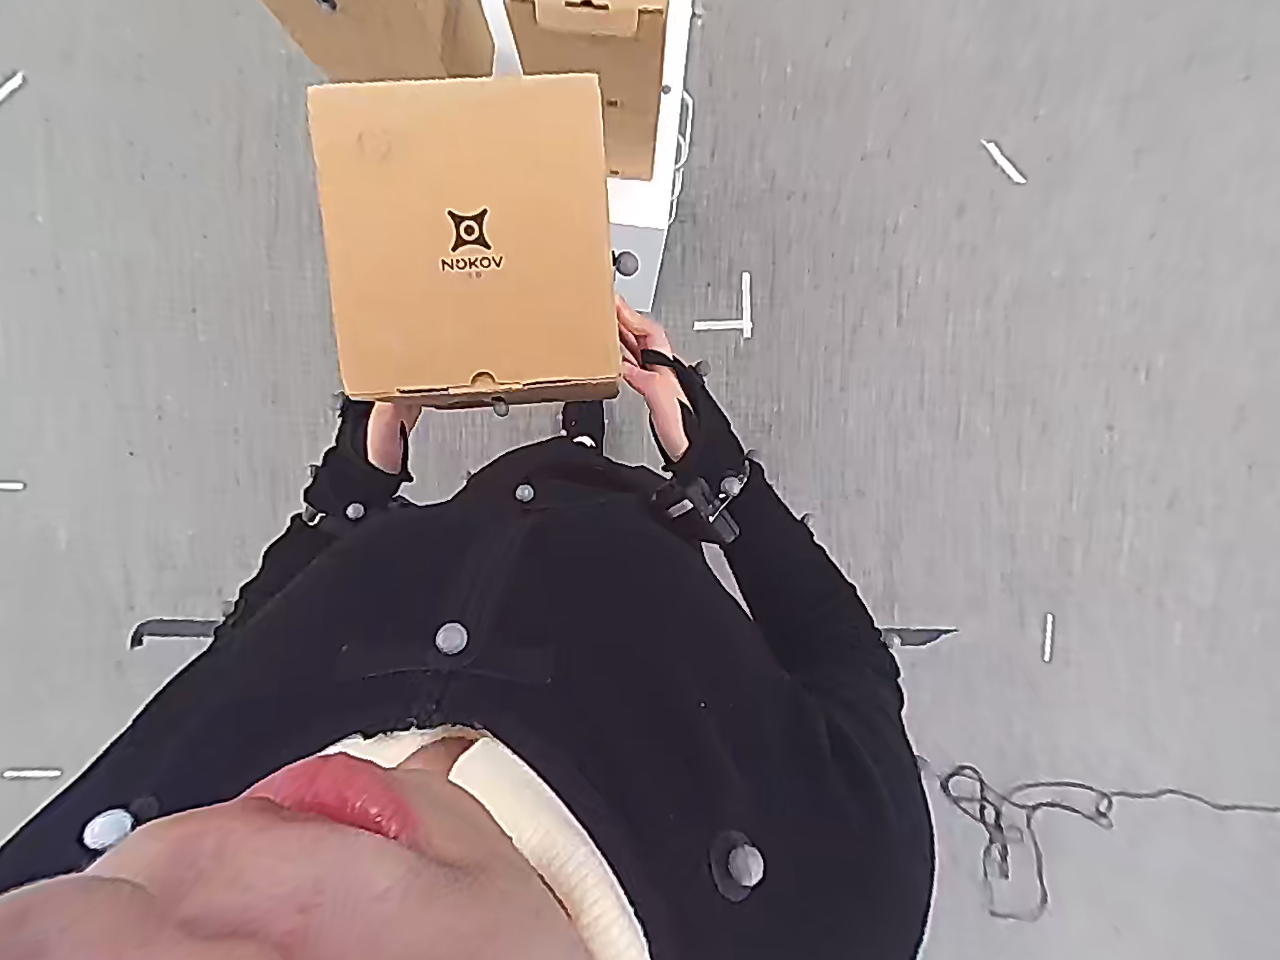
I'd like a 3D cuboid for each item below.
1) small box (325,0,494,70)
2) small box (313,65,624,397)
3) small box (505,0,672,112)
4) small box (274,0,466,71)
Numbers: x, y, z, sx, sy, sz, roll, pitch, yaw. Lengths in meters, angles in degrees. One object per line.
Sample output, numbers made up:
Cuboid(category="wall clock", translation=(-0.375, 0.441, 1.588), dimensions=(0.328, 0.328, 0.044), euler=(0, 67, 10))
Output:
Cuboid(category="small box", translation=(-0.310, -0.595, 0.761), dimensions=(0.168, 0.176, 0.179), euler=(7, 93, -2))
Cuboid(category="small box", translation=(-0.101, -0.156, 0.393), dimensions=(0.168, 0.176, 0.179), euler=(-4, 97, -3))
Cuboid(category="small box", translation=(-0.047, -0.553, 0.607), dimensions=(0.168, 0.176, 0.179), euler=(4, 93, -2))
Cuboid(category="small box", translation=(-0.306, -0.580, 0.596), dimensions=(0.179, 0.176, 0.168), euler=(6, 95, -2))
